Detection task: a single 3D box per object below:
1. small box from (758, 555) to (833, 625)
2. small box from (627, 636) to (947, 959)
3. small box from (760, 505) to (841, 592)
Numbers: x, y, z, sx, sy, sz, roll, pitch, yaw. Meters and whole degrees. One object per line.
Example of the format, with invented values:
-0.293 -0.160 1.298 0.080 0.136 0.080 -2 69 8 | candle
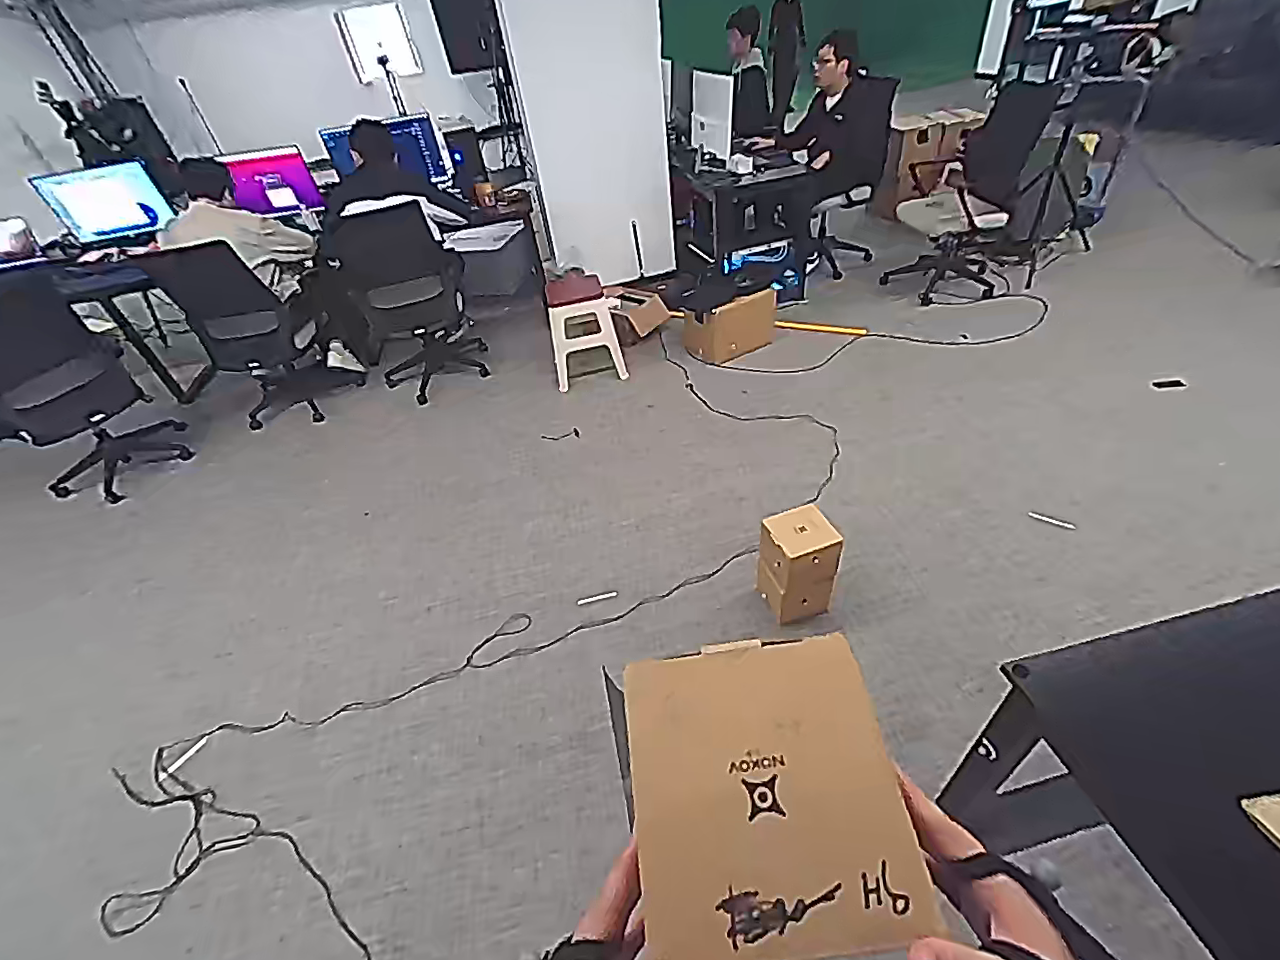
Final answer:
0.488 0.333 1.728 0.179 0.176 0.168 -16 41 -7 | small box
0.085 0.241 0.406 0.168 0.176 0.179 -9 52 1 | small box
0.474 0.209 1.623 0.179 0.176 0.168 -17 42 -11 | small box
